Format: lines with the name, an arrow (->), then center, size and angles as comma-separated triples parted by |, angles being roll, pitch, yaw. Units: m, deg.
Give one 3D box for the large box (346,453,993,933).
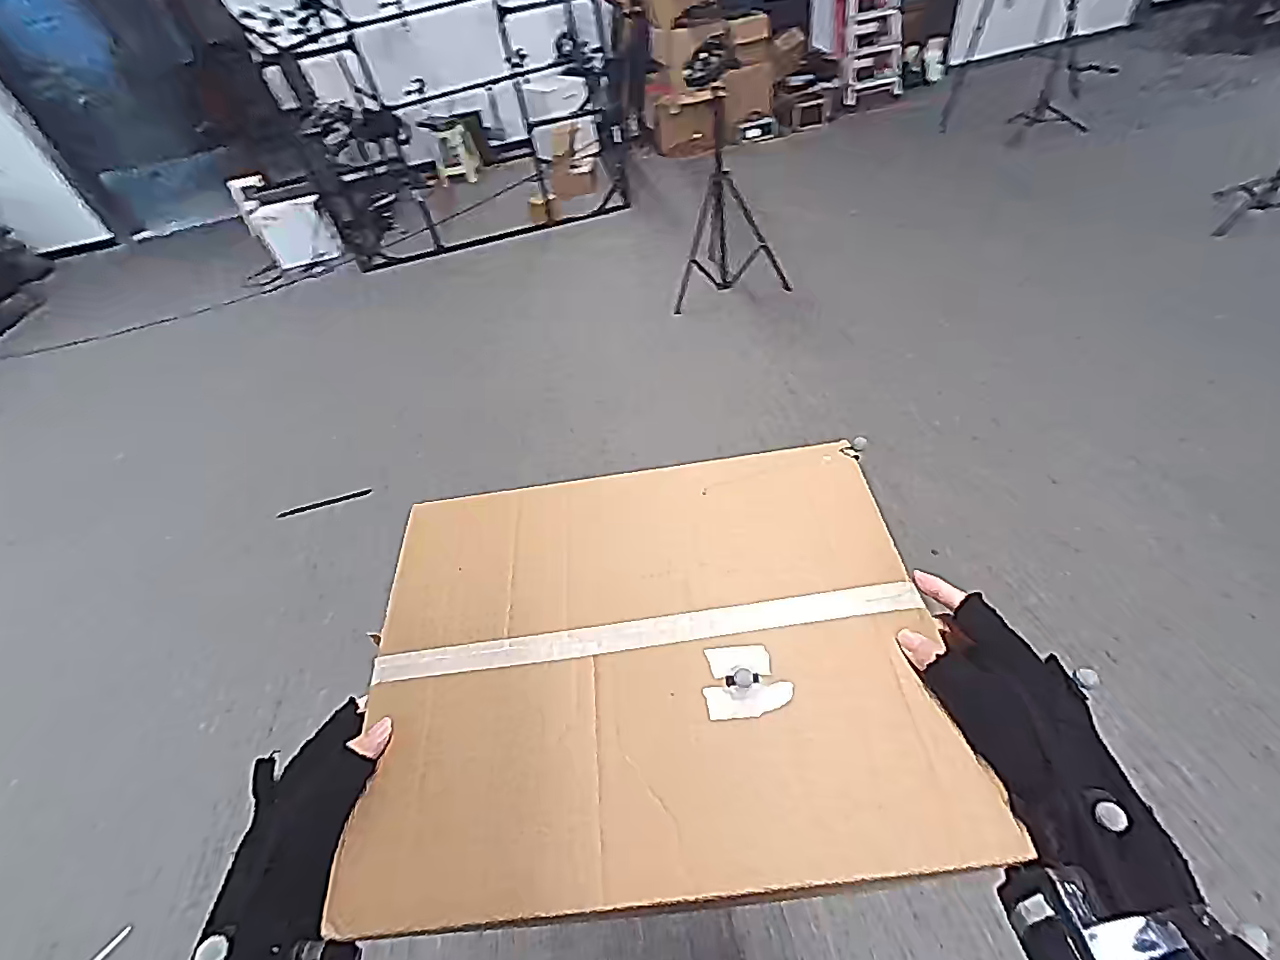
large box -> 0.016, 0.215, 0.530 | 0.408, 0.320, 0.320 | -9, 51, 1
